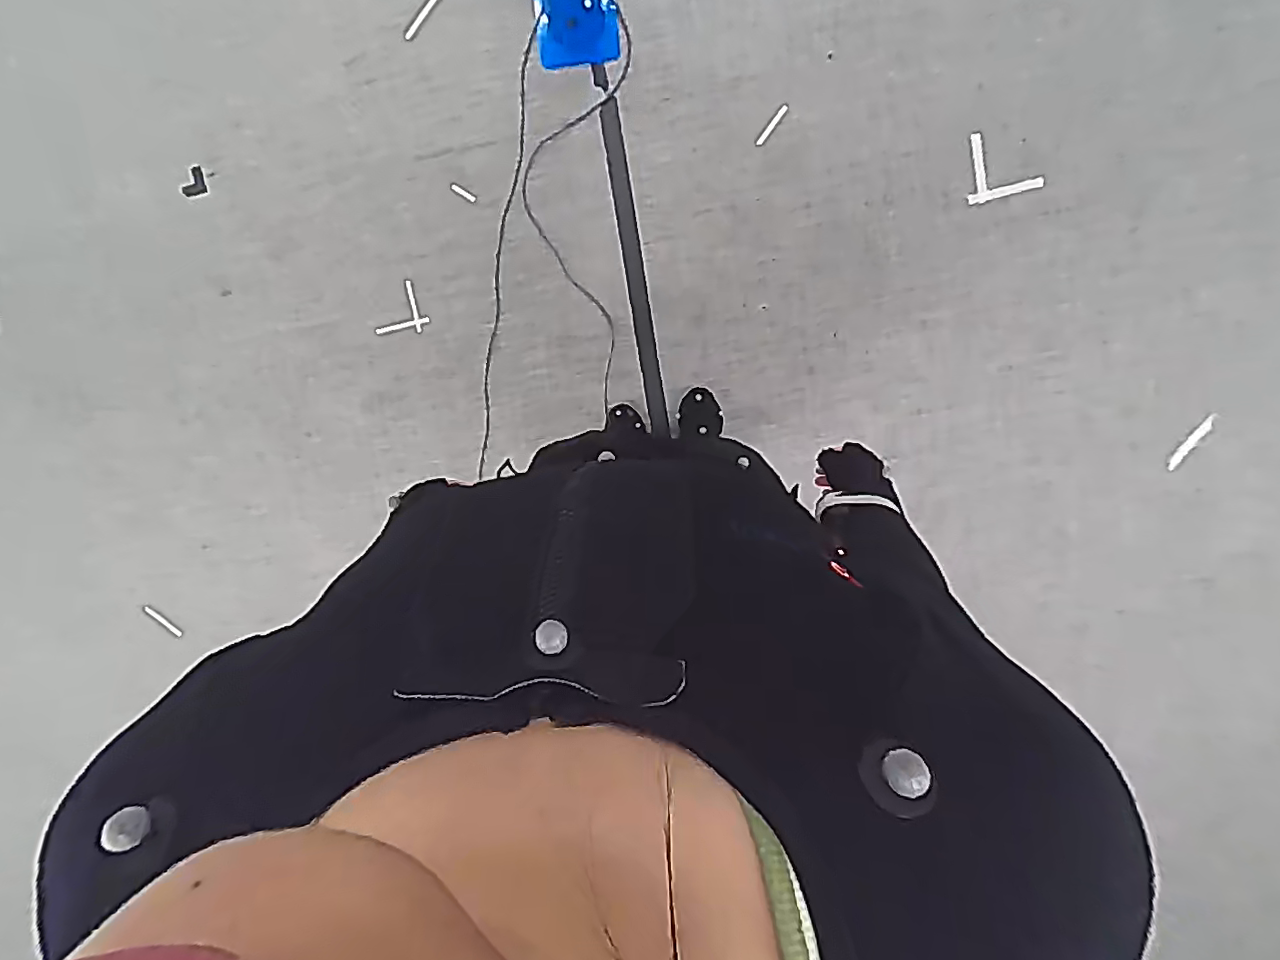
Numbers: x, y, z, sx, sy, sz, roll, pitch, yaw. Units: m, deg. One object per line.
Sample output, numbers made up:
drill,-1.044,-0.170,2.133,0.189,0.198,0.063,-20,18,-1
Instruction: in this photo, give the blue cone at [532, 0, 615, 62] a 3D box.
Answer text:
blue cone,-0.171,-1.080,1.126,0.193,0.380,0.192,-6,99,6
